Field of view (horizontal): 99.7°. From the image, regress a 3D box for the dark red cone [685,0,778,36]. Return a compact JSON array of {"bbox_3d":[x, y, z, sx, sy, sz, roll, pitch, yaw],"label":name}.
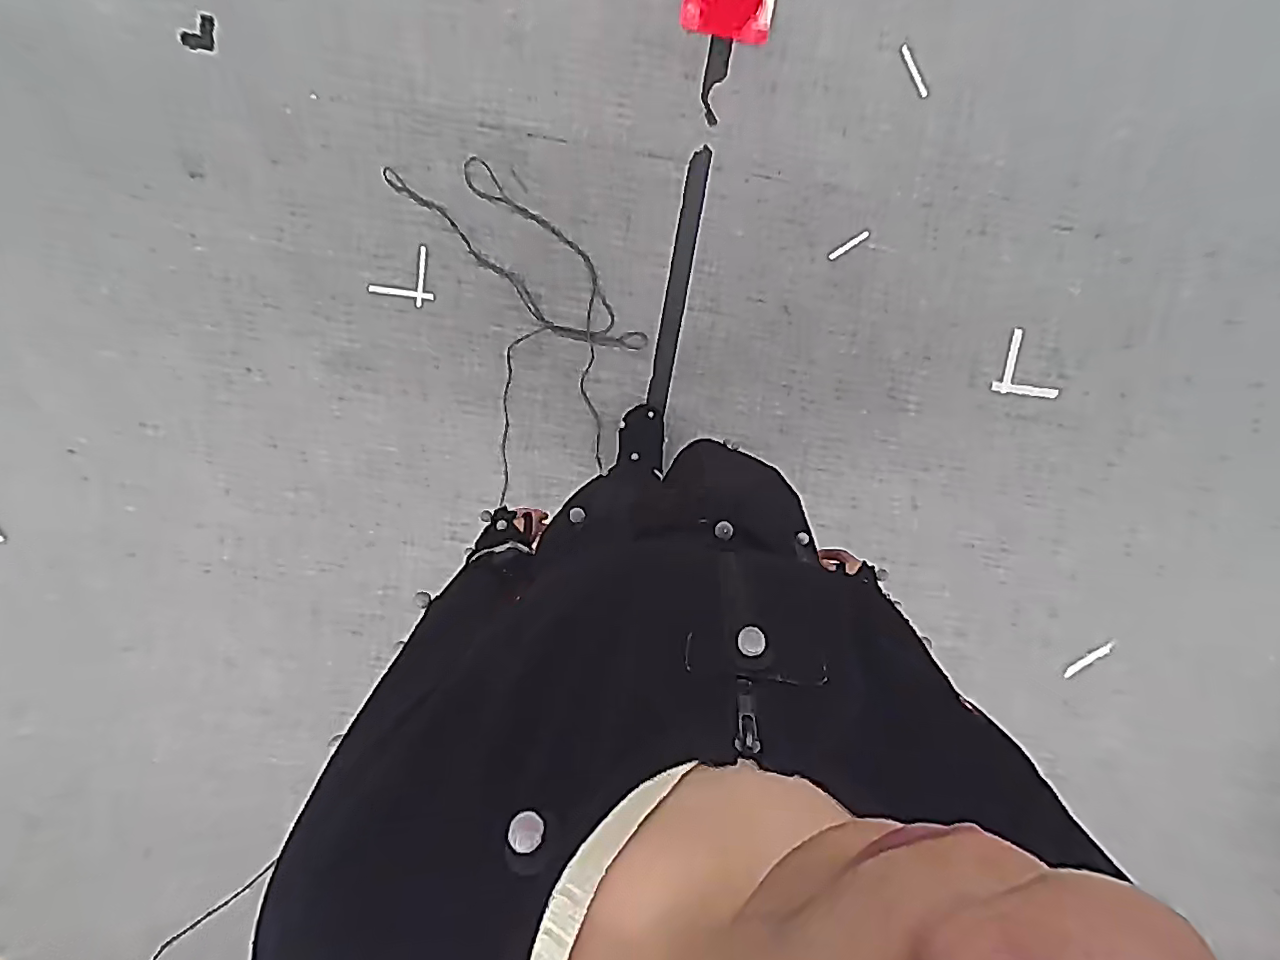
[{"bbox_3d":[0.204,-1.043,0.995,0.201,0.394,0.202,8,100,-2],"label":"dark red cone"}]
